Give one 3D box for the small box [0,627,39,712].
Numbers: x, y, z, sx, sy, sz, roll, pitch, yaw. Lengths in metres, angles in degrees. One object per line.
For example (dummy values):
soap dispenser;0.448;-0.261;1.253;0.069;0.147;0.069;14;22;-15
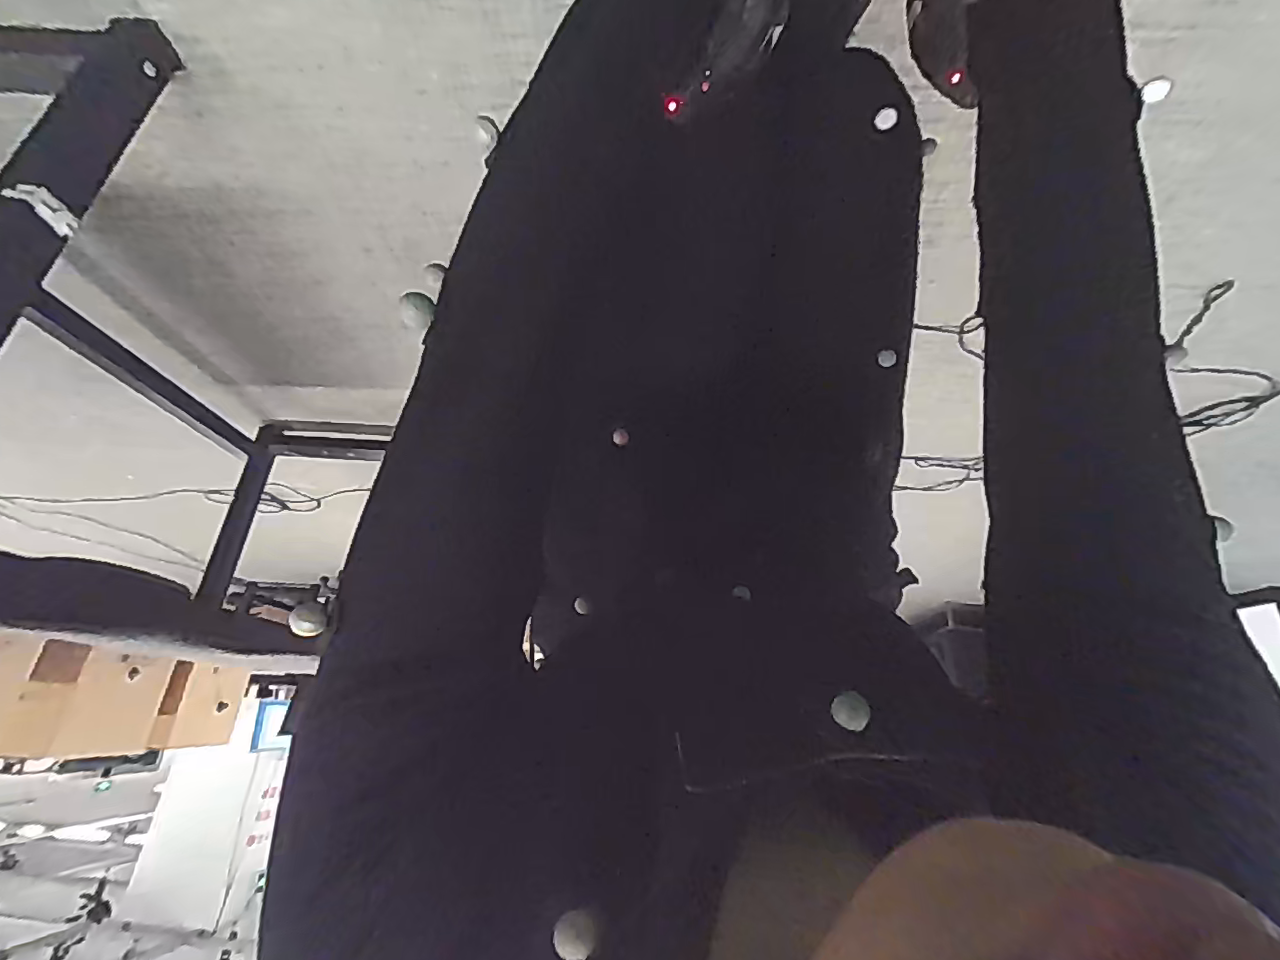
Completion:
small box;-0.921;0.253;0.656;0.179;0.176;0.168;3;157;2
